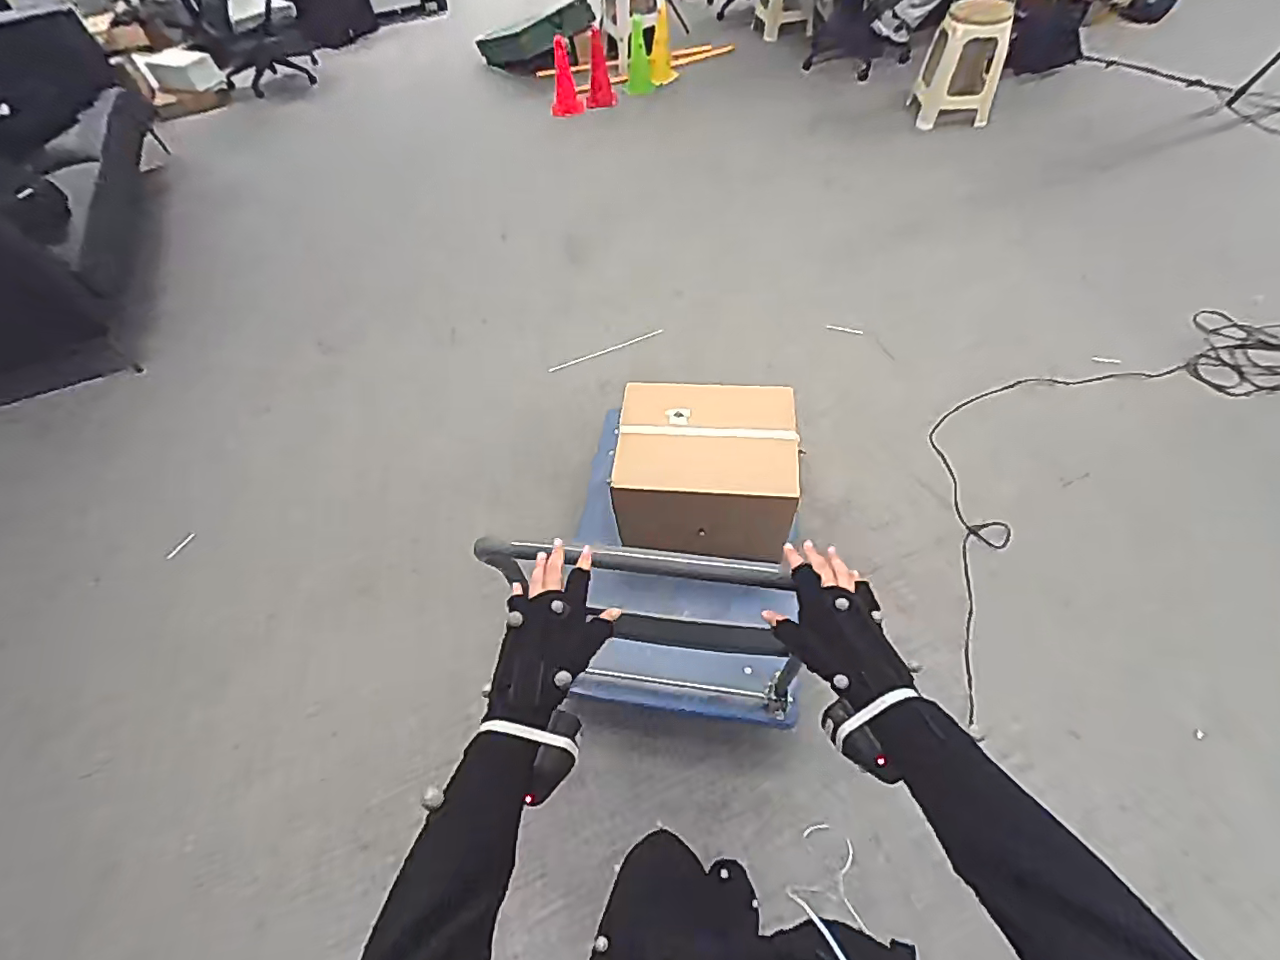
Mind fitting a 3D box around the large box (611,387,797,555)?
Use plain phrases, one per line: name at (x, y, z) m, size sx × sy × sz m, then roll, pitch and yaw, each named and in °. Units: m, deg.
large box at (0.161, -0.017, 1.359) m, size 0.408 × 0.320 × 0.320 m, roll 2°, pitch 56°, yaw 8°
